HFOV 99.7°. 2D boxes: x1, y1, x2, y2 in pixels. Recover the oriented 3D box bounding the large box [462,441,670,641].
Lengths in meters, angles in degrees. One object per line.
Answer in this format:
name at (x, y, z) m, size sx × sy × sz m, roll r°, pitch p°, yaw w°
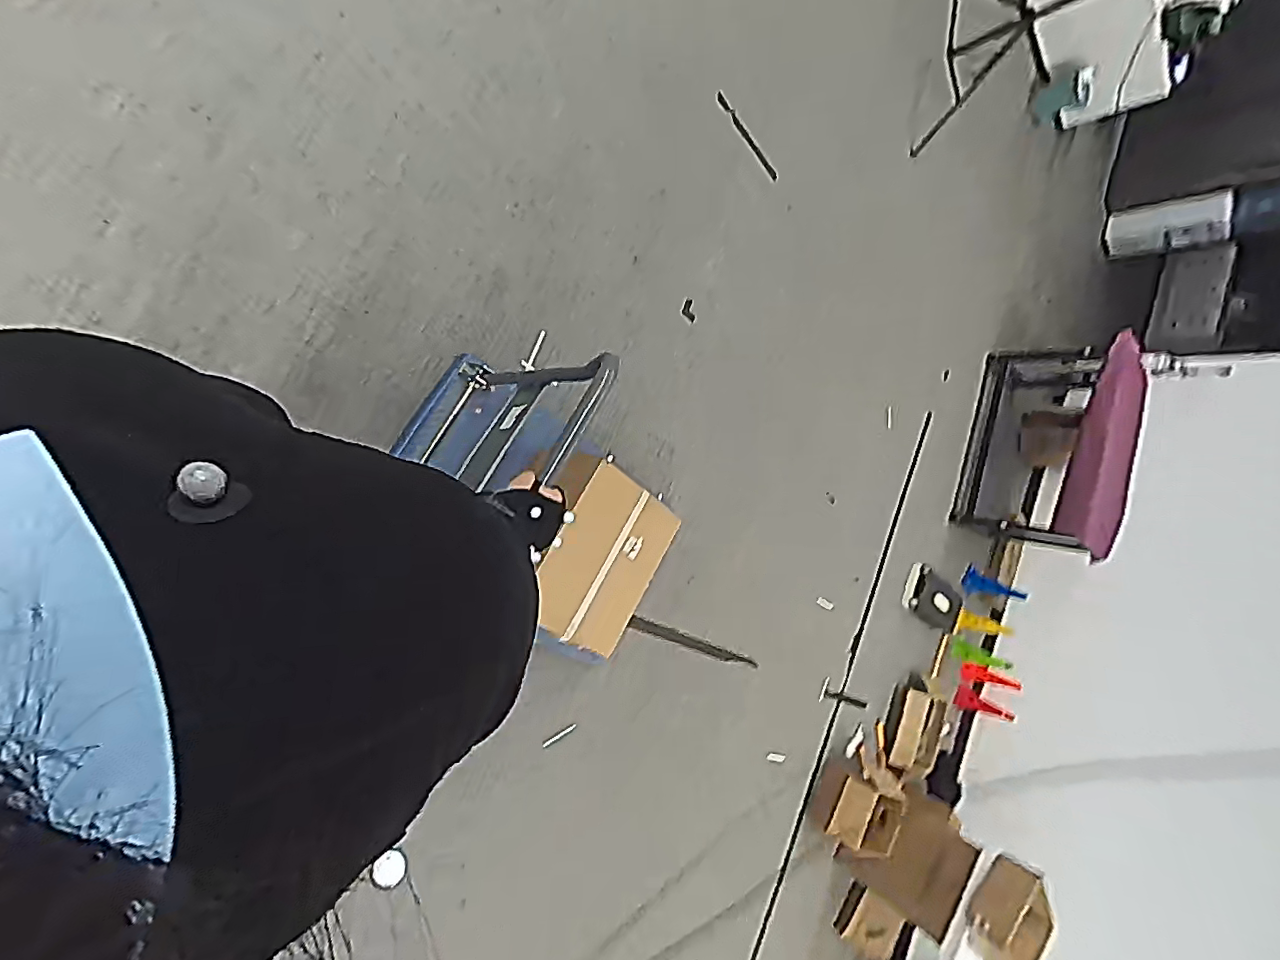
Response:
large box at (-0.195, 0.147, 1.426) m, size 0.320 × 0.320 × 0.408 m, roll 39°, pitch 72°, yaw -36°
